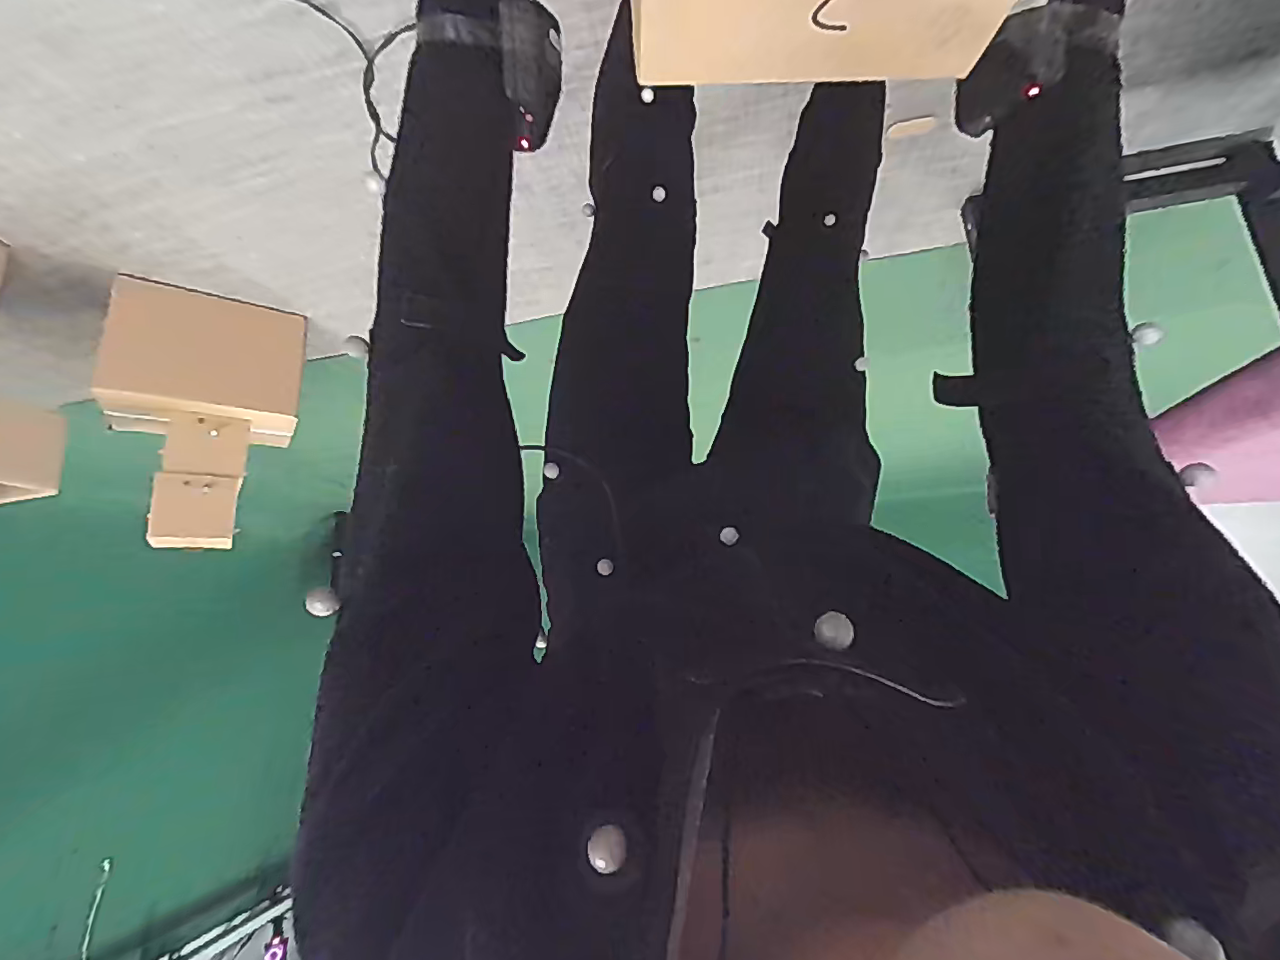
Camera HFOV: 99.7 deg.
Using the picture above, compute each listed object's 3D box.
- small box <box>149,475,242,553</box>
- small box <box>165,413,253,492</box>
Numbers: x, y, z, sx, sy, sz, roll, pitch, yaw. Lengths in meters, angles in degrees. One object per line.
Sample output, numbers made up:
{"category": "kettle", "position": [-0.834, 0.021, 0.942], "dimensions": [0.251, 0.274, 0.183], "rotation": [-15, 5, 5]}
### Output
{"category": "small box", "position": [-1.146, 0.093, 1.402], "dimensions": [0.168, 0.176, 0.179], "rotation": [7, 162, -36]}
{"category": "small box", "position": [-1.155, -0.062, 1.451], "dimensions": [0.168, 0.176, 0.179], "rotation": [9, 160, -39]}
